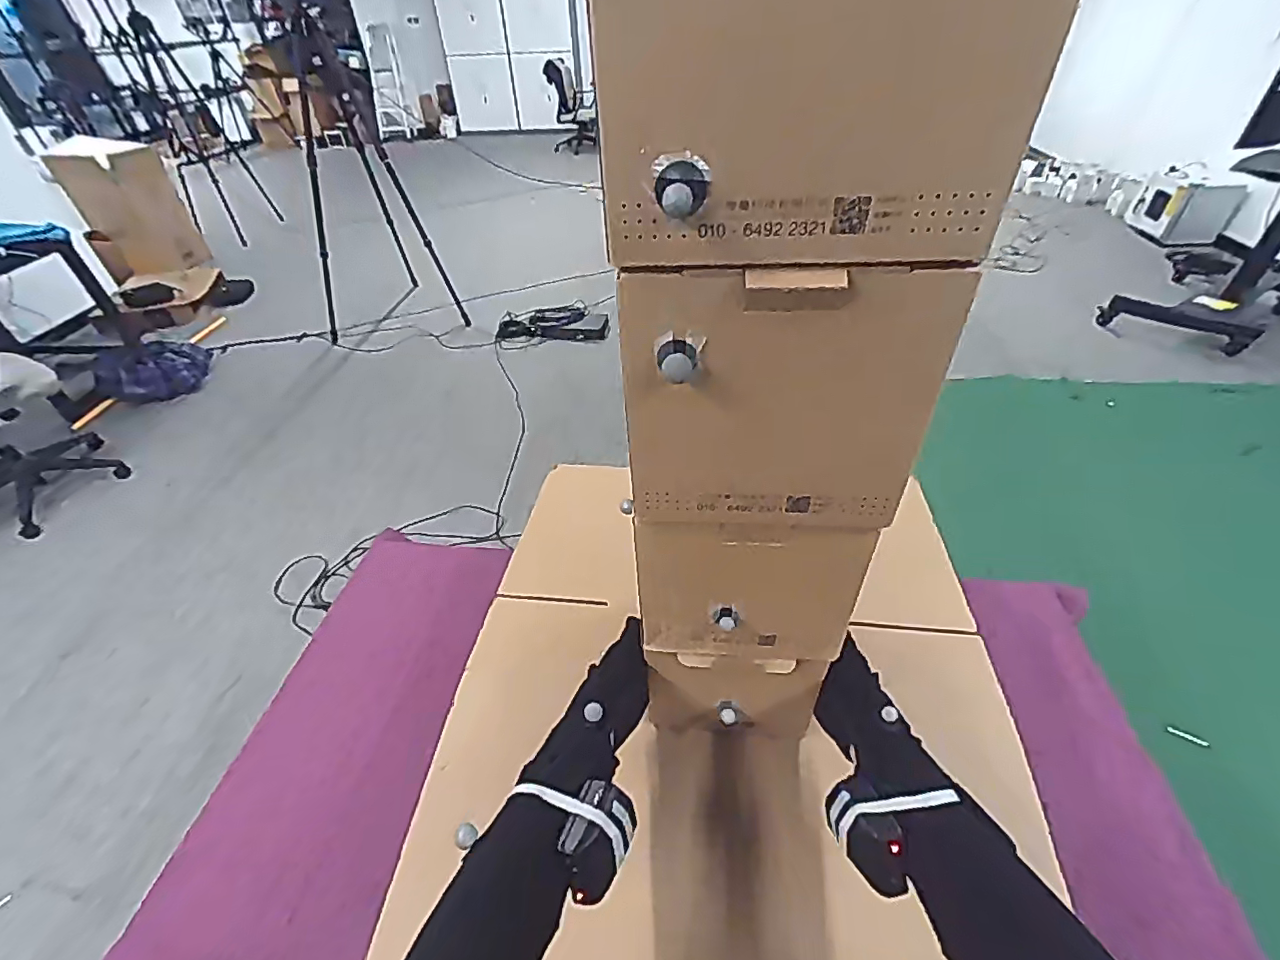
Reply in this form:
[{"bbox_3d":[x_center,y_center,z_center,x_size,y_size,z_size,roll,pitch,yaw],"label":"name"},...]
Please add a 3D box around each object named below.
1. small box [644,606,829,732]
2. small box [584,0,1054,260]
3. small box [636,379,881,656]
[{"bbox_3d":[0.098,0.145,0.589,0.168,0.176,0.179,2,42,8],"label":"small box"},{"bbox_3d":[0.069,-0.212,0.250,0.168,0.176,0.179,1,41,6],"label":"small box"},{"bbox_3d":[0.089,0.029,0.475,0.168,0.176,0.179,1,42,6],"label":"small box"}]
